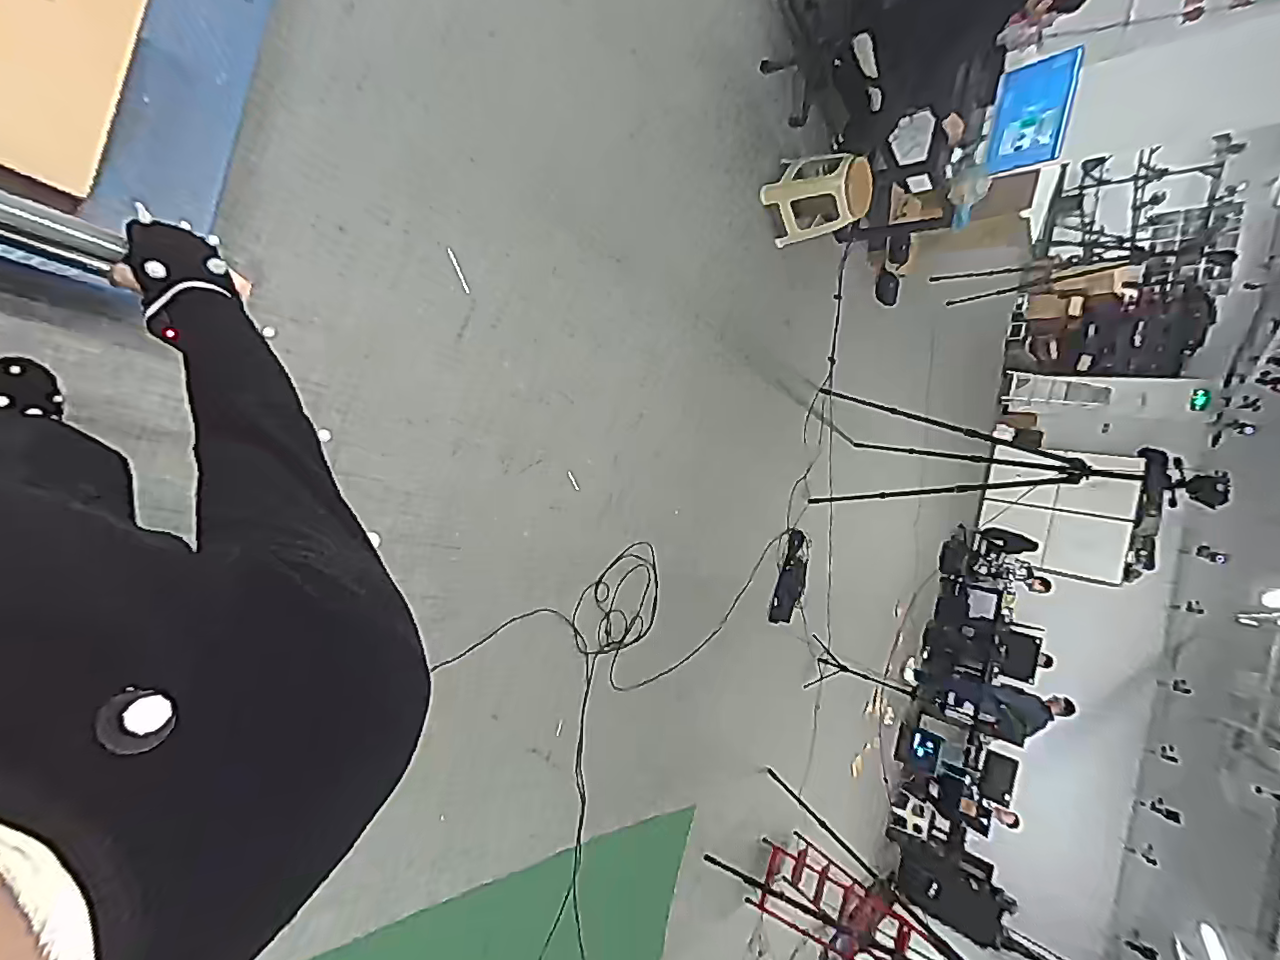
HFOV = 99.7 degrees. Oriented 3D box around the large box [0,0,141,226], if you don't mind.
[{"bbox_3d":[-0.976,-0.659,0.788,0.320,0.320,0.408,15,86,-48],"label":"large box"}]
